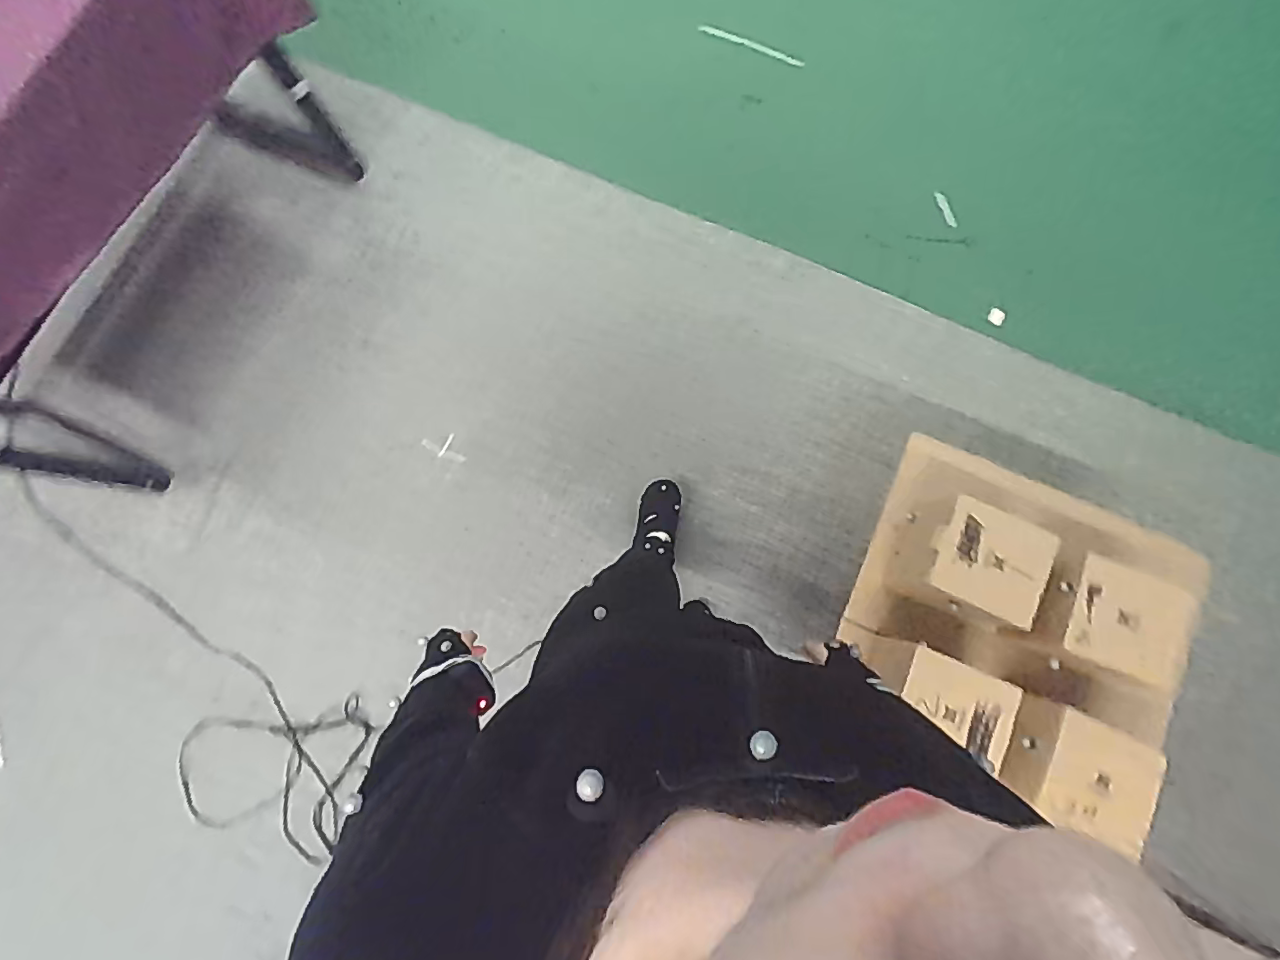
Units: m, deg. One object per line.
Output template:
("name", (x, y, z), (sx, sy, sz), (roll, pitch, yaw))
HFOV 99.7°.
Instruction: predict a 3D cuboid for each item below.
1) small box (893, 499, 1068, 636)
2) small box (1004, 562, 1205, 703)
("small box", (0.578, 0.154, 0.943), (0.179, 0.176, 0.168), (26, 81, 5))
("small box", (0.777, 0.249, 0.921), (0.179, 0.176, 0.168), (24, 80, 4))
